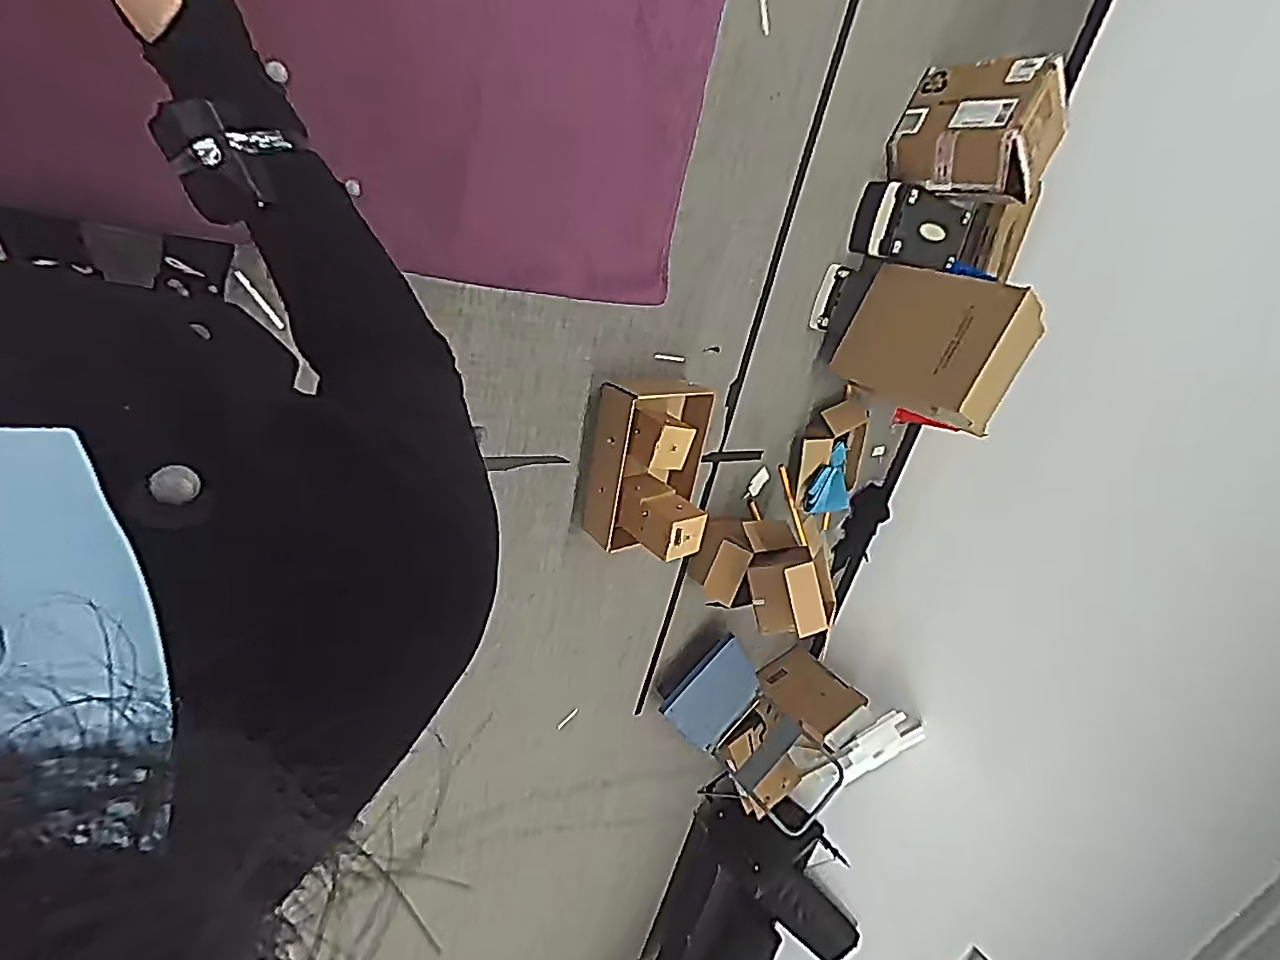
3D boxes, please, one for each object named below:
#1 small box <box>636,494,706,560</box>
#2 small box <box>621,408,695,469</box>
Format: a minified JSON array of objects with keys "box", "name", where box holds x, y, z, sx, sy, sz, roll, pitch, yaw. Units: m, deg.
[{"box":[0.109,0.168,1.986,0.179,0.176,0.168,-11,122,-40],"name":"small box"},{"box":[0.063,-0.154,1.986,0.179,0.176,0.168,2,116,-44],"name":"small box"}]
